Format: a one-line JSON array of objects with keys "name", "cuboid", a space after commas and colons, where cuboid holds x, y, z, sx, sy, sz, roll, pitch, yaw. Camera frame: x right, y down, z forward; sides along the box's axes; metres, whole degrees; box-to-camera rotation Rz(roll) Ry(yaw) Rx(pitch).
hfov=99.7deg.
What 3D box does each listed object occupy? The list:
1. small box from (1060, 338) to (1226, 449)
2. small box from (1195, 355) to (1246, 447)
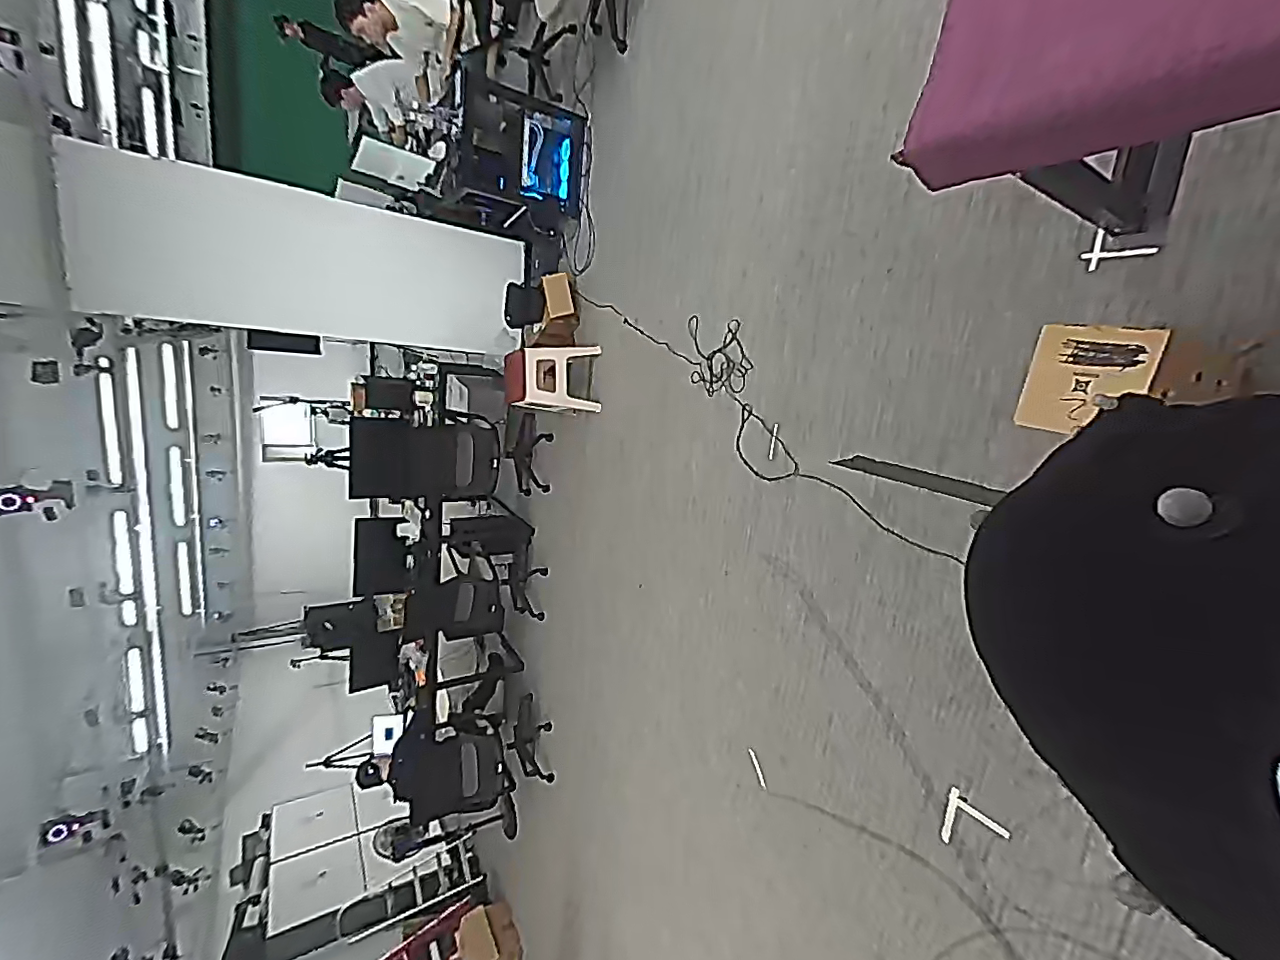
[{"name": "small box", "cuboid": [0.918, -0.158, 0.987, 0.168, 0.176, 0.179, 25, 113, 54]}, {"name": "small box", "cuboid": [1.052, -0.168, 1.082, 0.168, 0.176, 0.179, 33, 119, 52]}]
